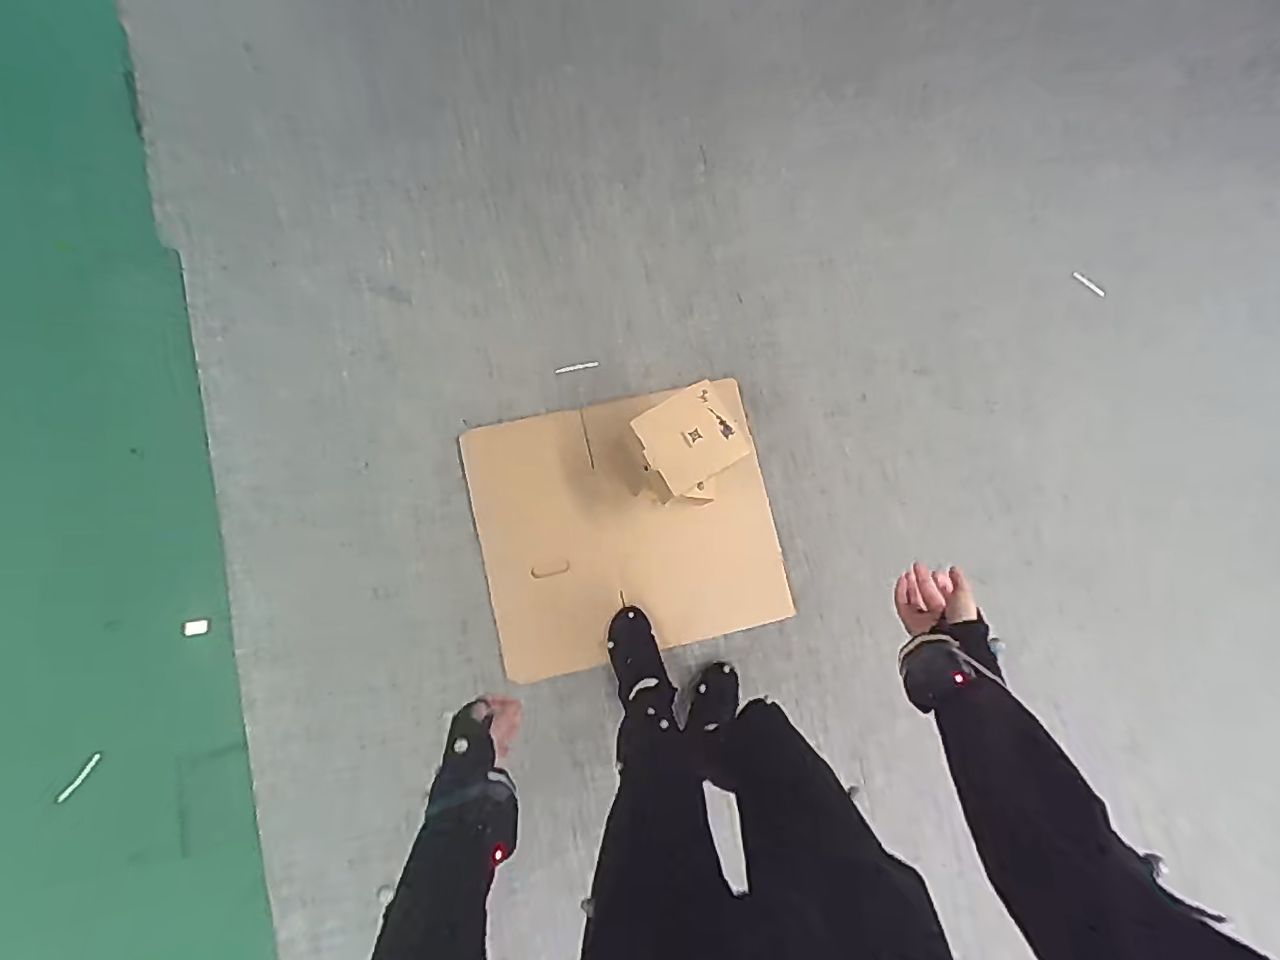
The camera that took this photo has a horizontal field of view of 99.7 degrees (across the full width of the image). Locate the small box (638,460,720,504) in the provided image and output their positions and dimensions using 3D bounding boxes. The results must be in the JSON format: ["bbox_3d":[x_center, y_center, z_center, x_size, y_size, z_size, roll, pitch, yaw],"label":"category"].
[{"bbox_3d":[0.089,-0.047,1.235,0.168,0.176,0.179,7,82,-3],"label":"small box"}]

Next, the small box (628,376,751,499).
[{"bbox_3d":[0.090,-0.074,1.074,0.179,0.176,0.168,-29,85,-7],"label":"small box"}]
